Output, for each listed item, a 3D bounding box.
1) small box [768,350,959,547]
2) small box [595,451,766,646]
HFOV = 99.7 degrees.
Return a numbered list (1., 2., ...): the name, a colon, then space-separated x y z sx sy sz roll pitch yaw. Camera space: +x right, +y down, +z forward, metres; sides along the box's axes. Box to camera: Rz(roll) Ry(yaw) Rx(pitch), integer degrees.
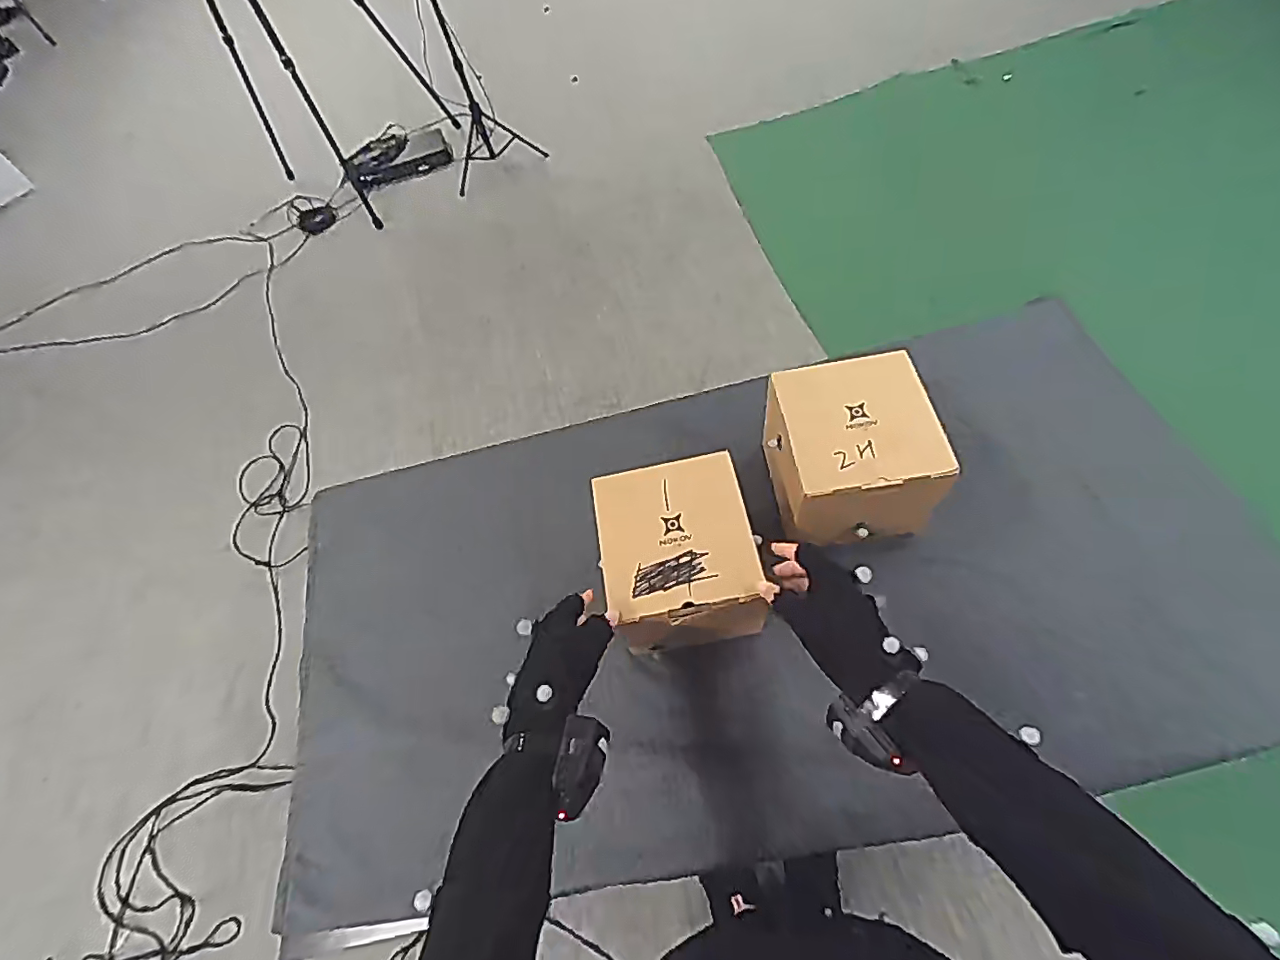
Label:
1. small box: 0.263 -0.033 0.688 0.168 0.176 0.179 -9 61 5
2. small box: 0.051 0.094 0.657 0.168 0.176 0.179 -12 60 4
